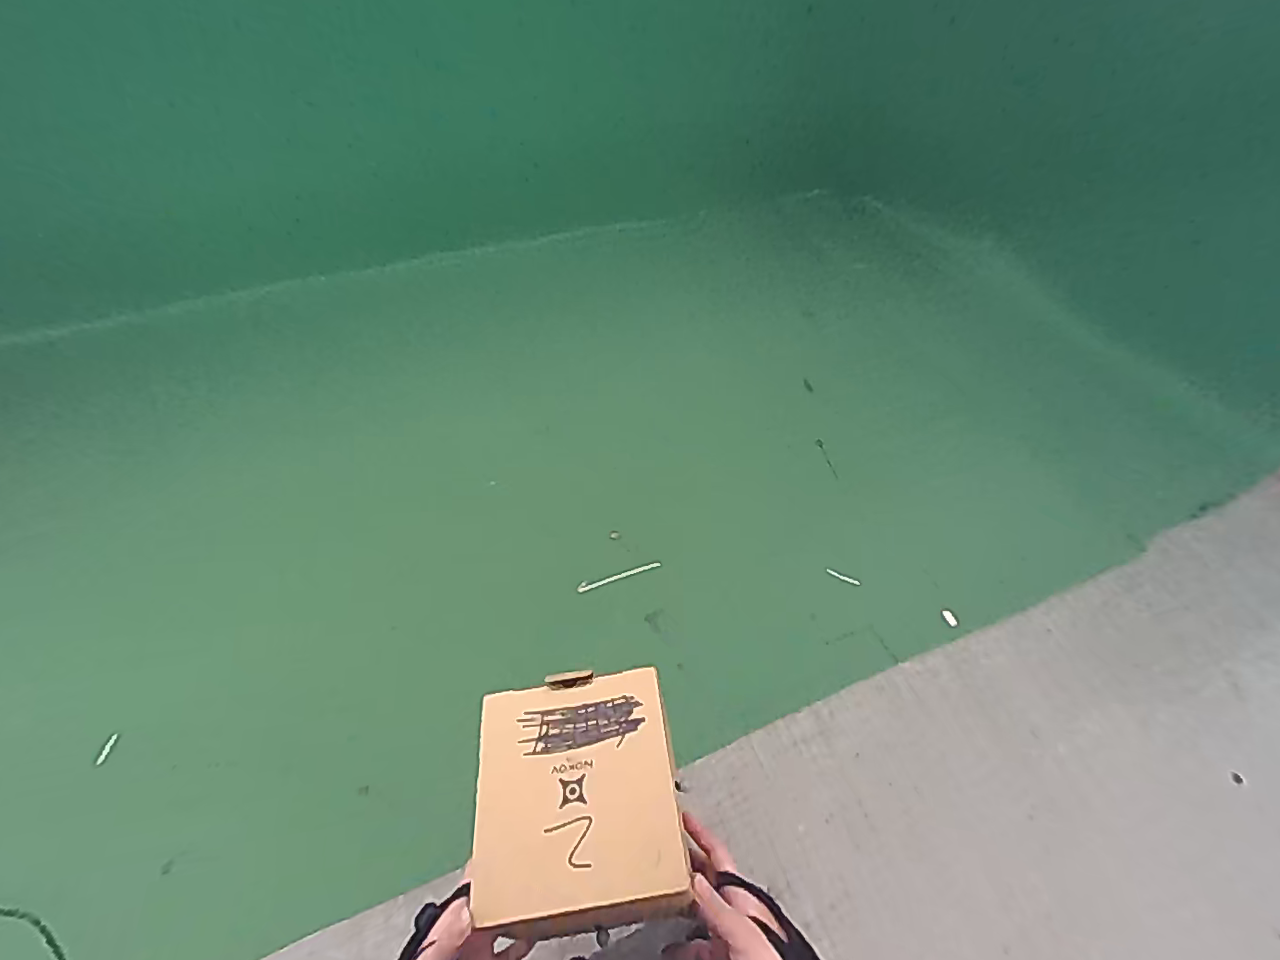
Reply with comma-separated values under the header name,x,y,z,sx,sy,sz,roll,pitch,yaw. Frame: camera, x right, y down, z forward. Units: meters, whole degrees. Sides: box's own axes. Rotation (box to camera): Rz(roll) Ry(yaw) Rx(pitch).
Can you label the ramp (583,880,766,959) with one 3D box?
name,x,y,z,sx,sy,sz,roll,pitch,yaw
ramp,0.189,1.420,1.012,0.509,0.206,0.991,-19,55,-17
